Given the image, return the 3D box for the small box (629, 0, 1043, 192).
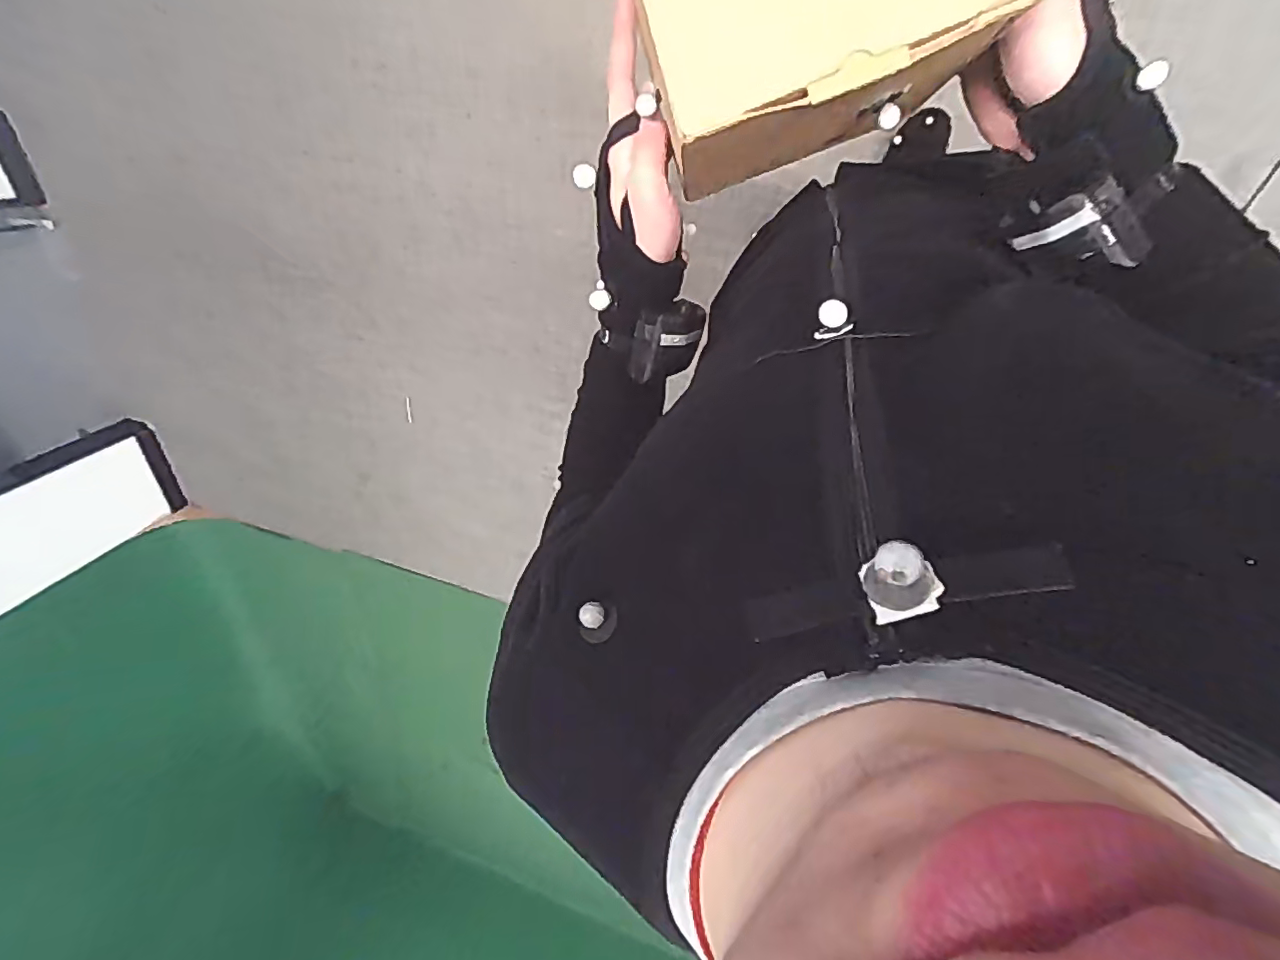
[{"bbox_3d":[0.080,-0.282,0.299,0.168,0.176,0.179,-17,105,10],"label":"small box"}]
